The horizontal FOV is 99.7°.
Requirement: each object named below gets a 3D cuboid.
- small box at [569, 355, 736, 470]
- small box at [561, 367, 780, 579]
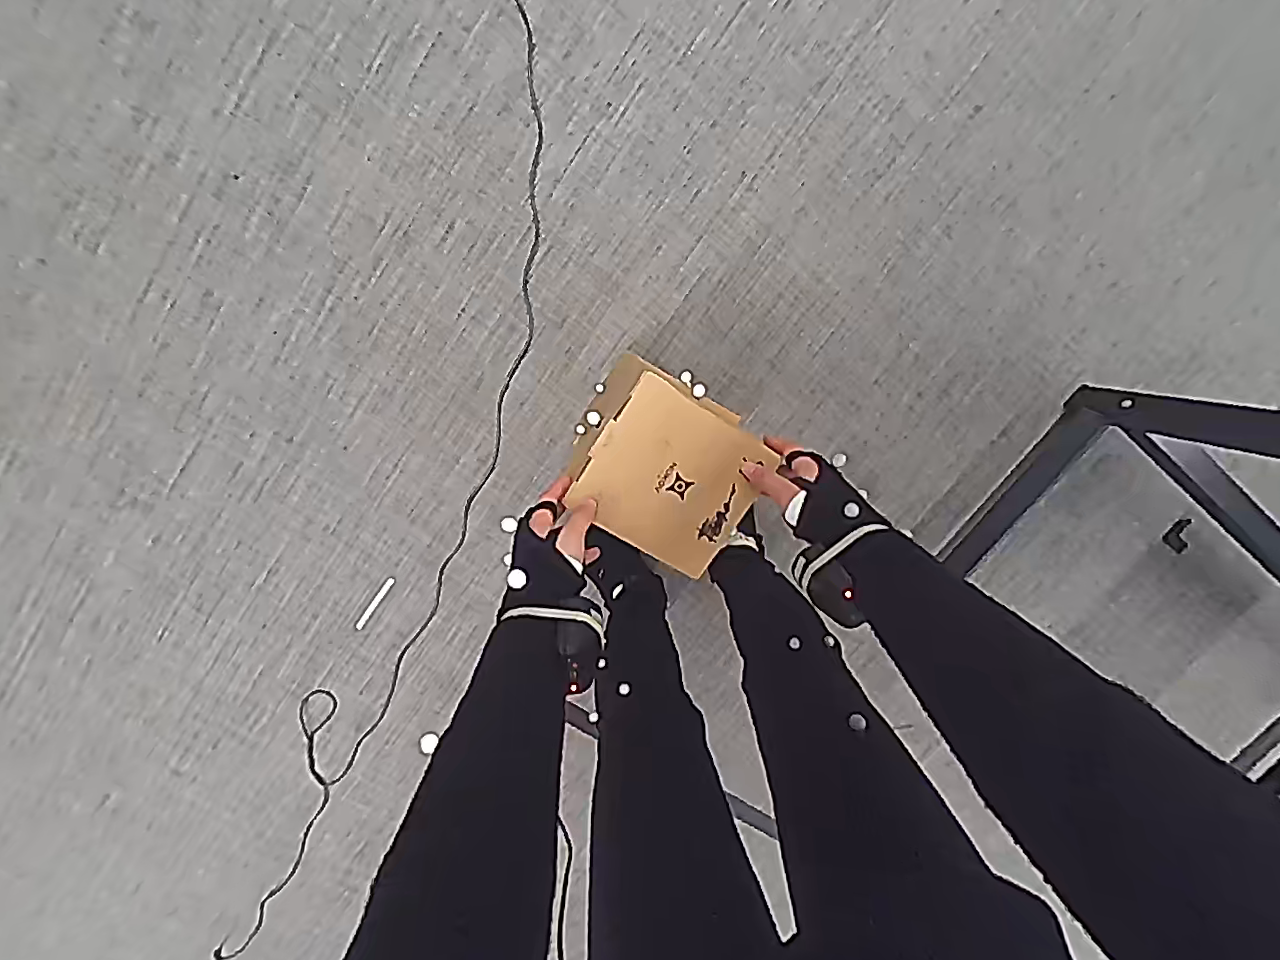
[{"bbox_3d":[0.011,-0.067,0.794,0.168,0.176,0.179,28,100,-13],"label":"small box"},{"bbox_3d":[0.026,-0.020,0.637,0.179,0.176,0.168,31,101,-12],"label":"small box"}]
